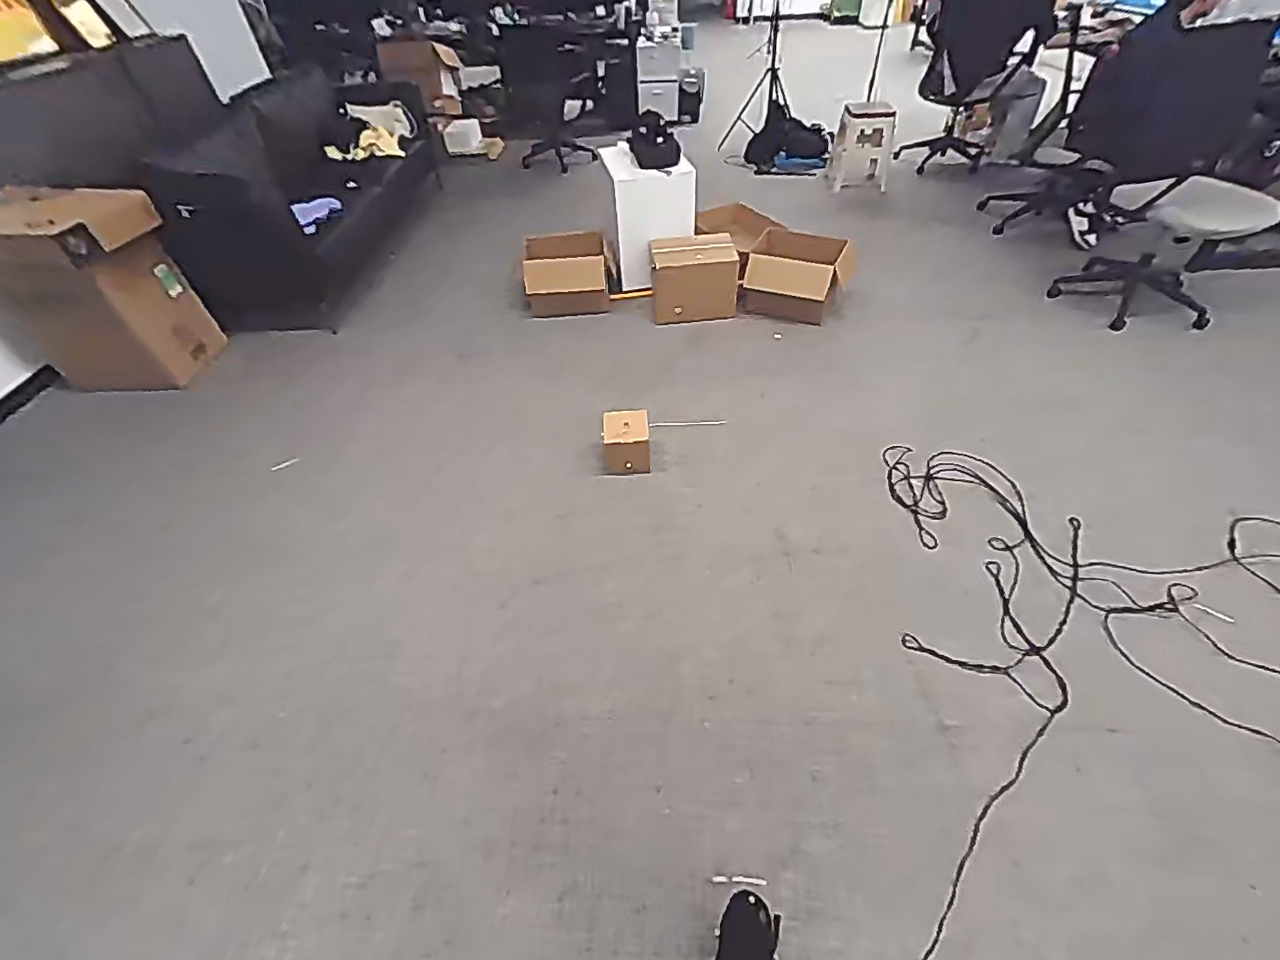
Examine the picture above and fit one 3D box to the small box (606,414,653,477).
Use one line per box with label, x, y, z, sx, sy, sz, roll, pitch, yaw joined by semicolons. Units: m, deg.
small box;-0.039;-0.130;2.043;0.168;0.176;0.179;-4;46;1
